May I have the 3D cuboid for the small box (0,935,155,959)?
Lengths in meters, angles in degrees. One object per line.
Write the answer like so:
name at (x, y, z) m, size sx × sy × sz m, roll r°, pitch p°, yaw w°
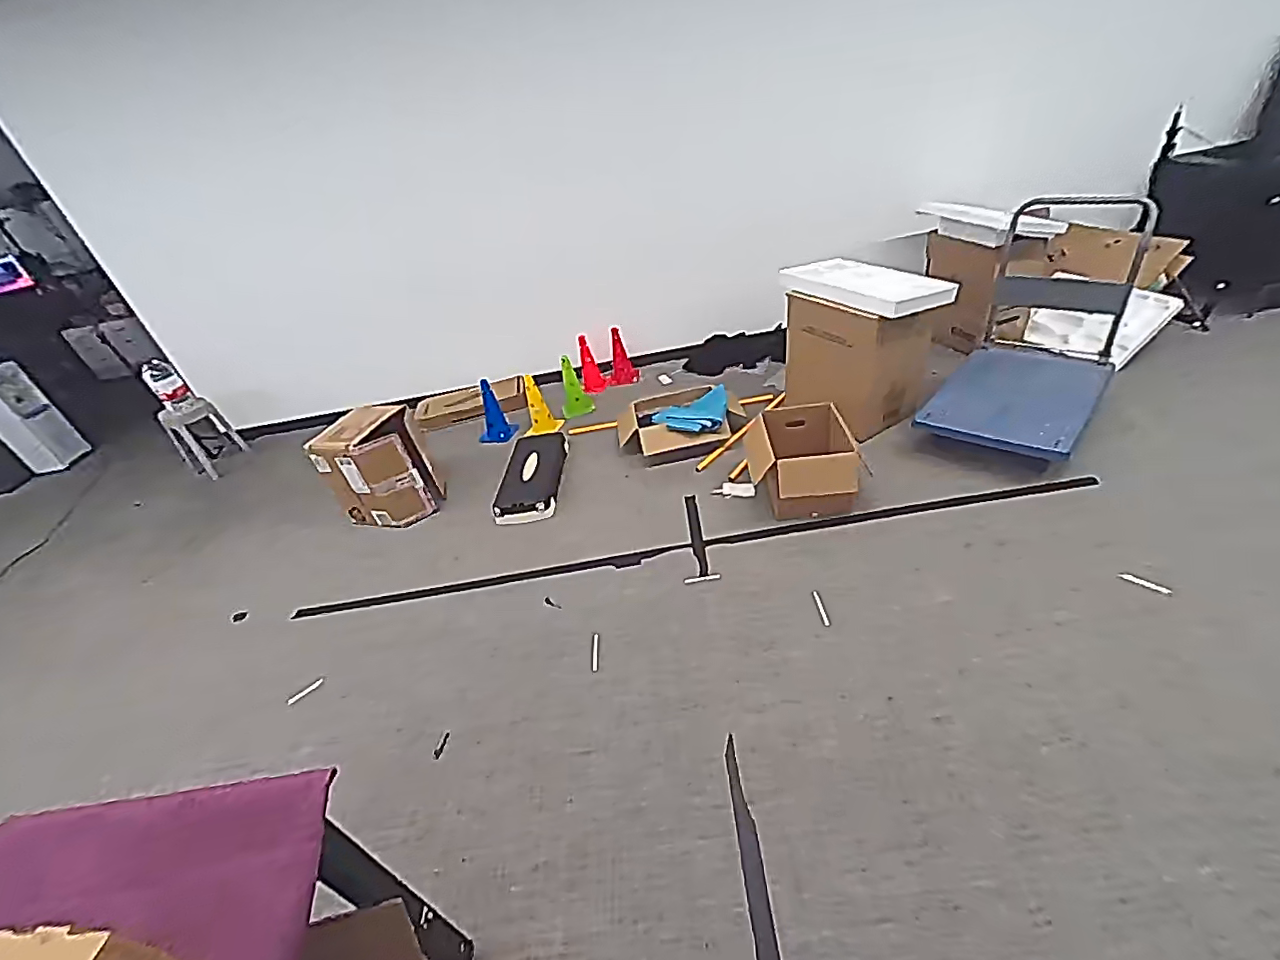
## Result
small box at (-0.655, 0.628, 0.585) m, size 0.168 × 0.176 × 0.179 m, roll -7°, pitch 35°, yaw 8°
